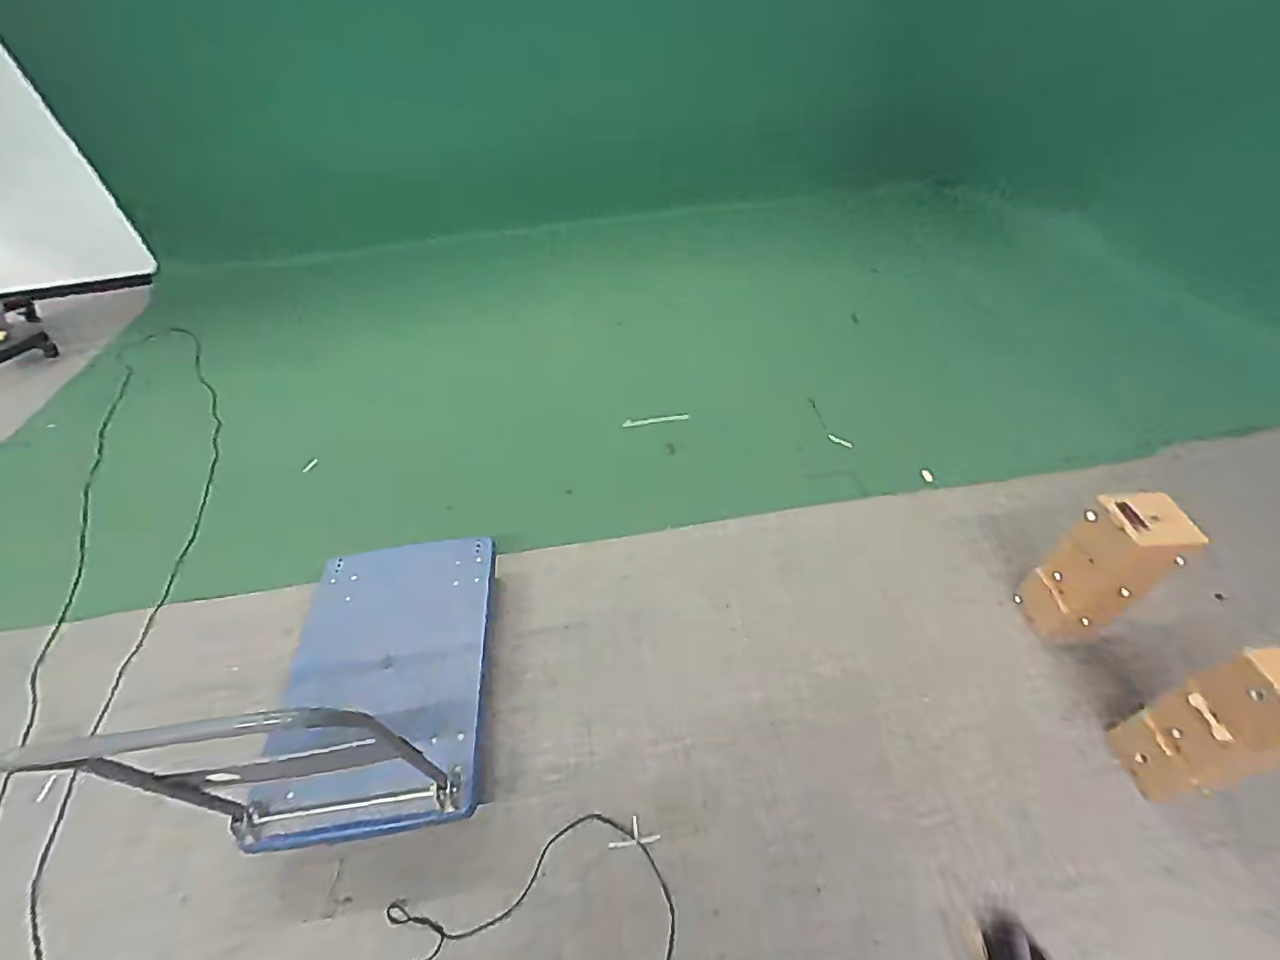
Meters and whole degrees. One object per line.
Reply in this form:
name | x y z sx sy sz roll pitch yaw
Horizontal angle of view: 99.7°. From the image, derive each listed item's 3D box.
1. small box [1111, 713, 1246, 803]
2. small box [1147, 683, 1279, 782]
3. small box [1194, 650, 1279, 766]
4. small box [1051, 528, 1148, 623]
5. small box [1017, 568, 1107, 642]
small box | 1.347 0.696 1.360 0.179 0.176 0.168 -6 46 0
small box | 1.347 0.581 1.243 0.179 0.176 0.168 -3 45 3
small box | 1.336 0.472 1.121 0.168 0.176 0.179 -3 46 3
small box | 1.315 0.275 1.558 0.168 0.176 0.179 19 50 24
small box | 1.307 0.386 1.666 0.179 0.176 0.168 -3 46 1
